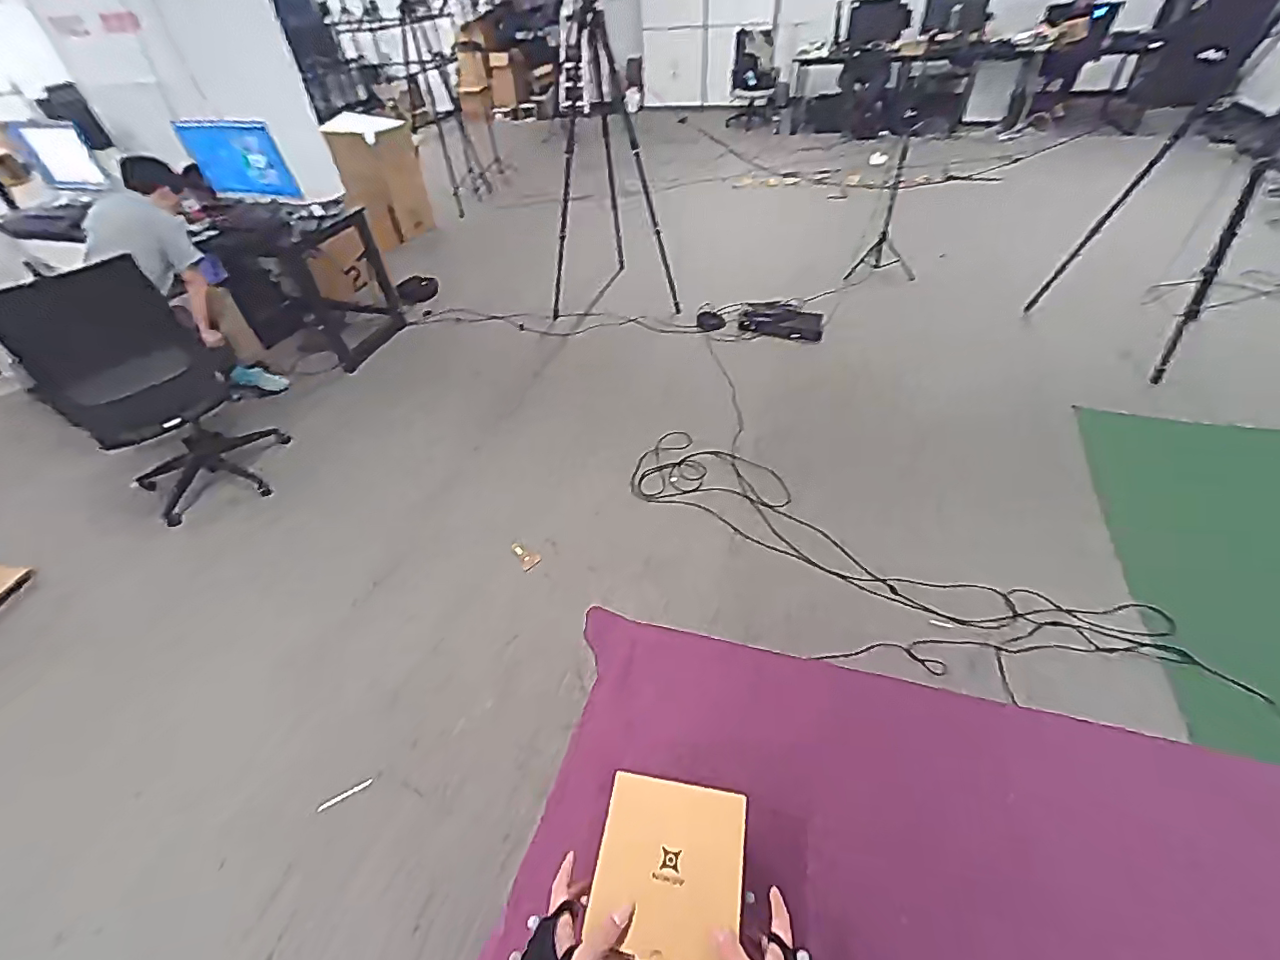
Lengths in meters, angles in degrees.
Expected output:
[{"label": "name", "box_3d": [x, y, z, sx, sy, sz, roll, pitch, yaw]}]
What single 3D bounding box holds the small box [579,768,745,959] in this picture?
[{"label": "small box", "box_3d": [0.035, 0.489, 0.664, 0.168, 0.176, 0.179, 5, 45, 10]}]
